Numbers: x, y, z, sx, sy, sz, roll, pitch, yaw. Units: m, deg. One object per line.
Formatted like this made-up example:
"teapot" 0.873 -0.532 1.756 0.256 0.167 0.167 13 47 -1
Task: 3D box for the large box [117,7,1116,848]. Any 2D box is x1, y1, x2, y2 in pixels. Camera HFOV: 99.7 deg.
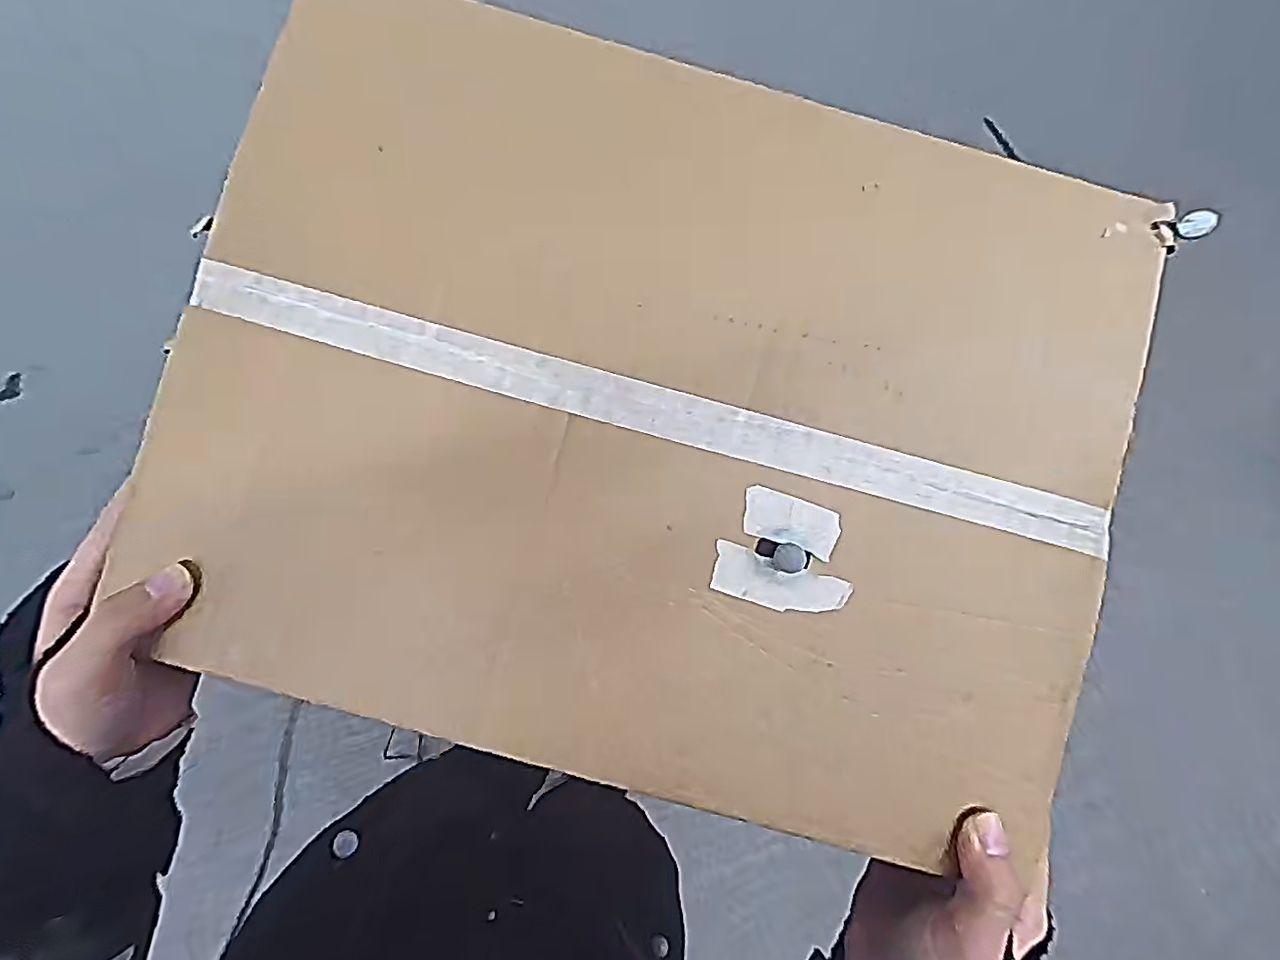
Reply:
"large box" -0.003 -0.018 0.393 0.408 0.320 0.320 15 87 -2
